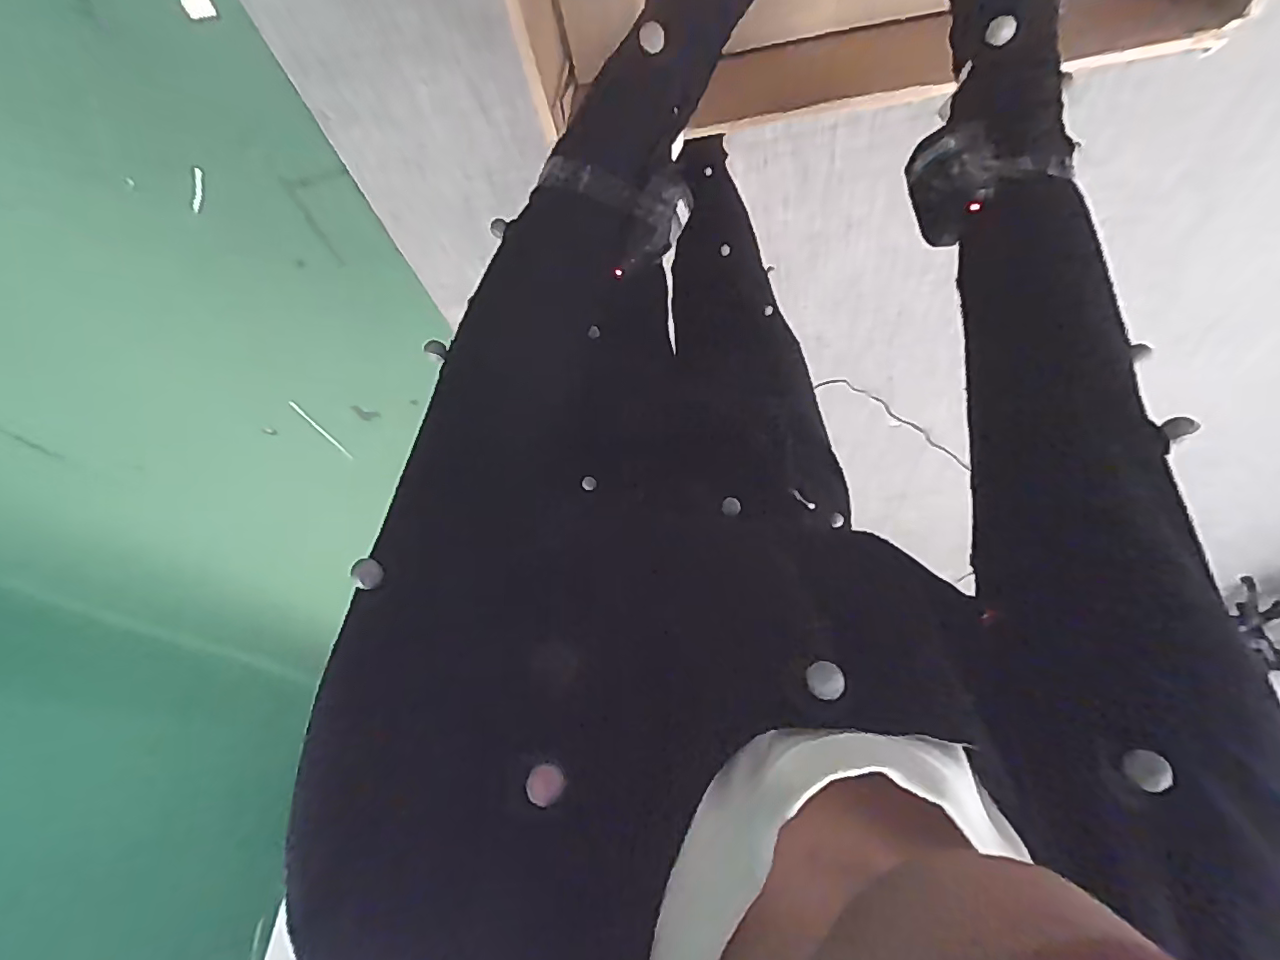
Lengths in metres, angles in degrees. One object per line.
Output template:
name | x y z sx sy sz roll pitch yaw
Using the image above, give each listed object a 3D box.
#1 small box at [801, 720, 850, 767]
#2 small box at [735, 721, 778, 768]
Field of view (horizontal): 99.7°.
small box | 0.803 1.147 2.348 0.179 0.176 0.168 -7 146 15
small box | 0.518 1.178 2.409 0.168 0.176 0.179 -7 146 12
